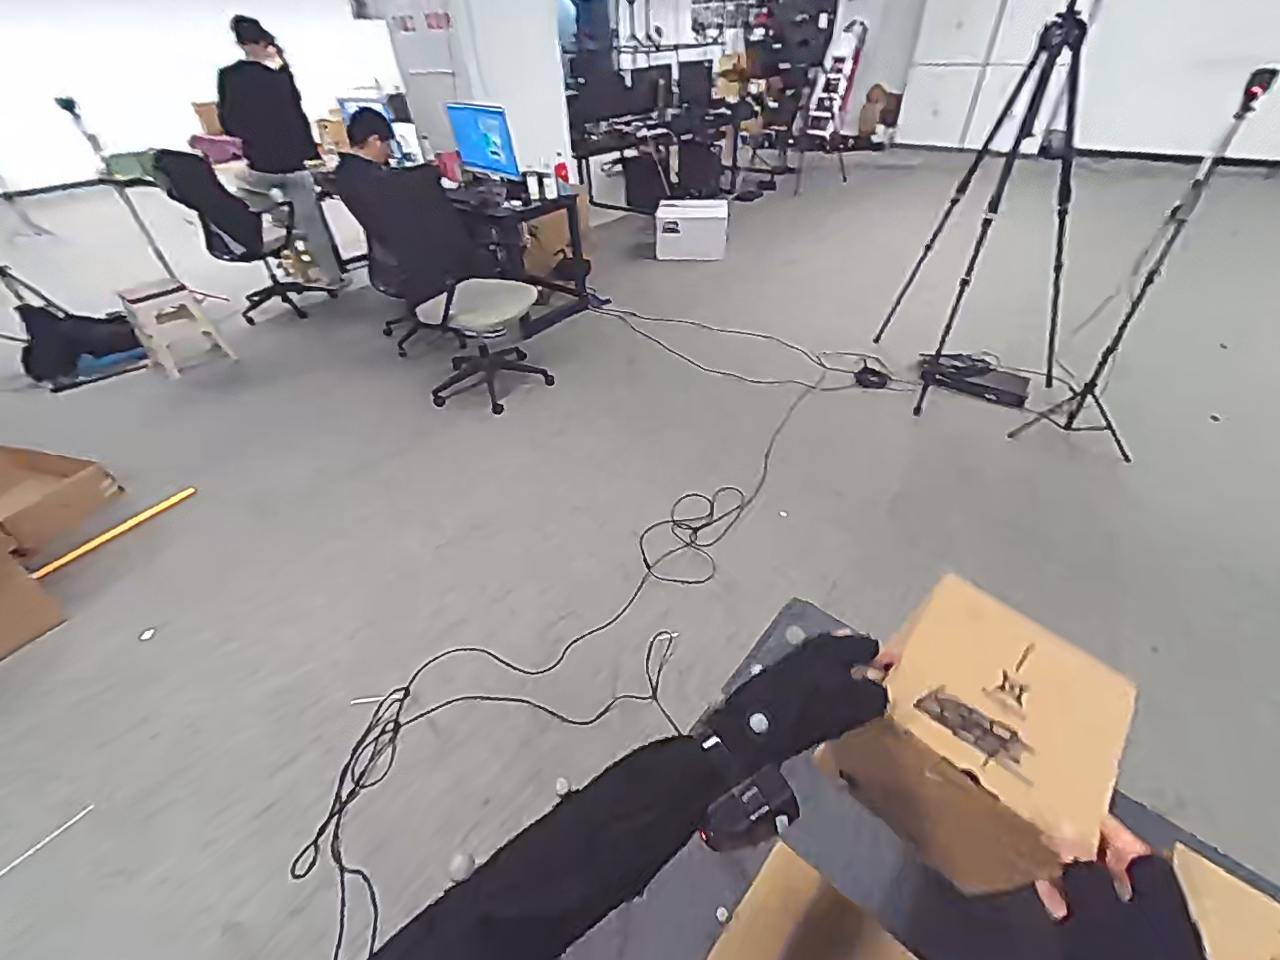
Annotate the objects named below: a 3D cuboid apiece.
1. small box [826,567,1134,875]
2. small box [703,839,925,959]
[{"bbox_3d":[0.297,0.224,0.505,0.168,0.176,0.179,35,55,25],"label":"small box"},{"bbox_3d":[0.143,0.483,0.487,0.168,0.176,0.179,28,50,33],"label":"small box"}]
